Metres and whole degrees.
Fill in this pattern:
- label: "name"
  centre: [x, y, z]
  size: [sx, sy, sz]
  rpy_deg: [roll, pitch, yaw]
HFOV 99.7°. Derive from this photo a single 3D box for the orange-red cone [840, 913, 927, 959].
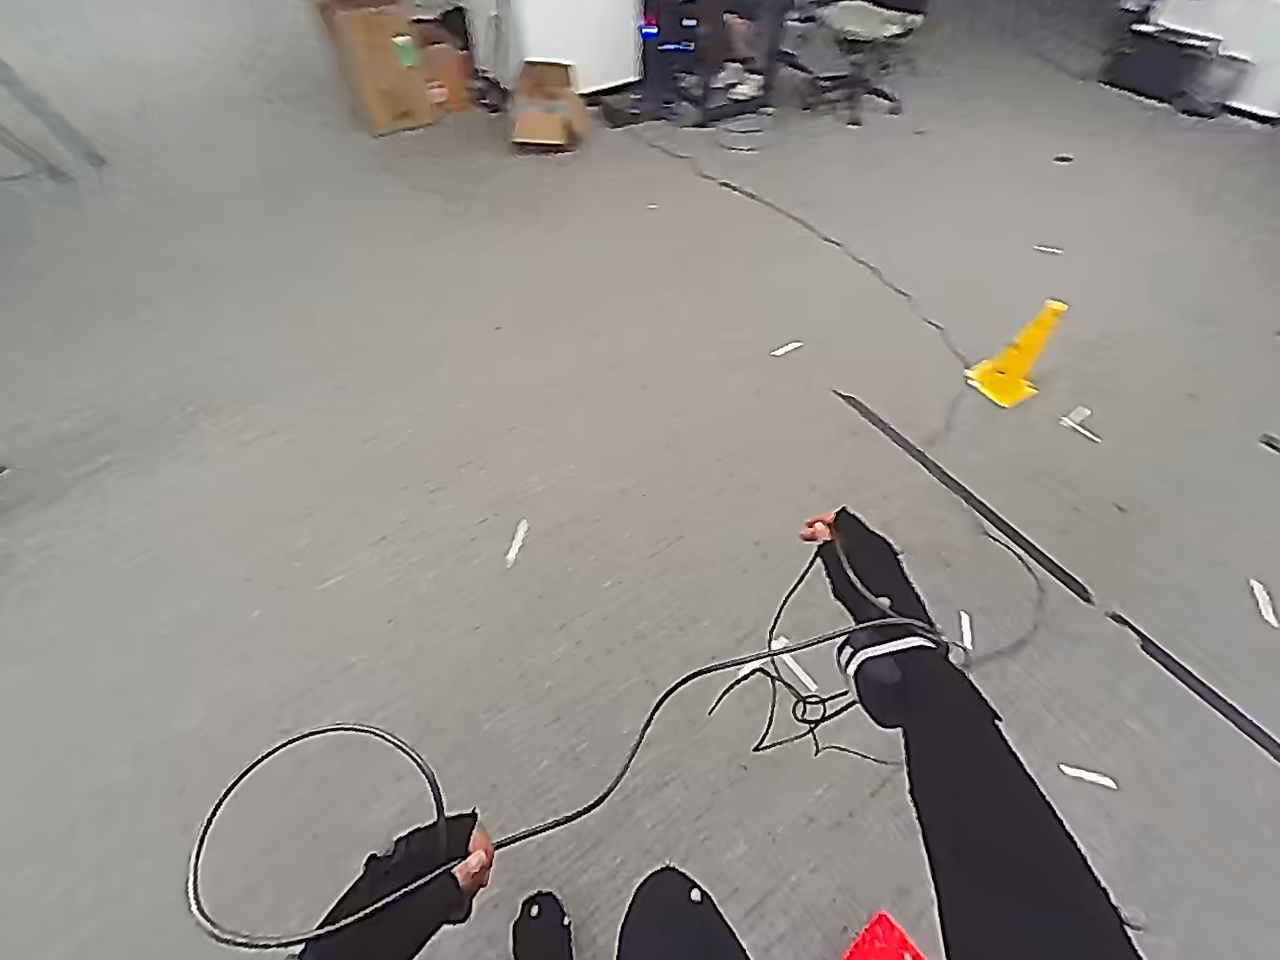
- label: "orange-red cone"
  centre: [0.492, 0.903, 0.908]
  size: [0.198, 0.360, 0.199]
  rpy_deg: [-33, 62, -22]
